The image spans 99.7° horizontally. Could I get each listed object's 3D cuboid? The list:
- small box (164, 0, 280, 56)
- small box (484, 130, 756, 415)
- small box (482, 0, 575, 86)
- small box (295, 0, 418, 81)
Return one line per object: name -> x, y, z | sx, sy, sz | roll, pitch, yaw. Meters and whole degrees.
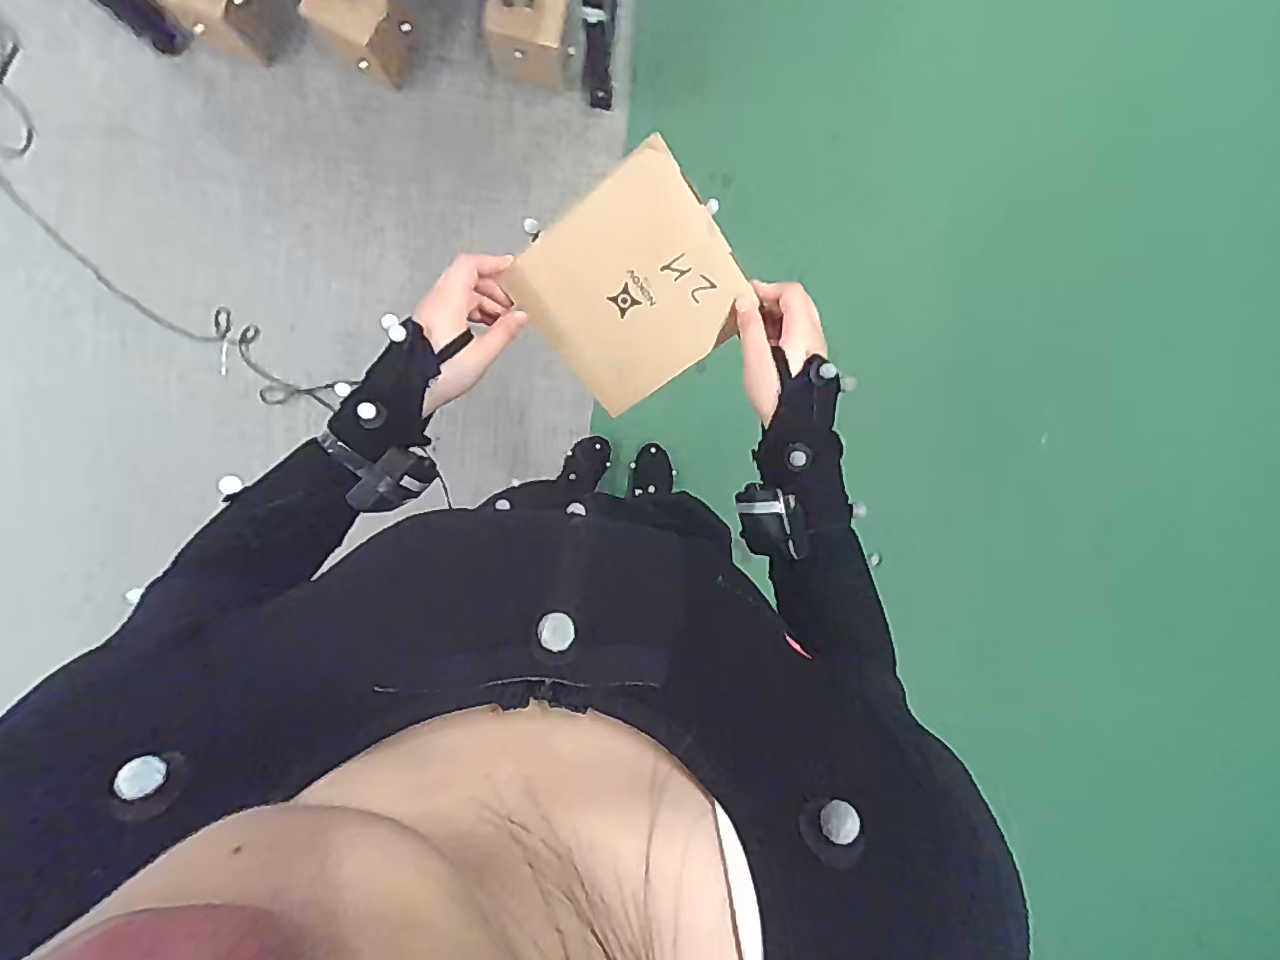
small box -> -1.012, -1.167, 1.287 | 0.179, 0.176, 0.168 | 19, 94, -2
small box -> -0.016, -0.200, 0.523 | 0.179, 0.176, 0.168 | -34, 118, 18
small box -> -0.263, -1.103, 1.310 | 0.179, 0.176, 0.168 | 12, 94, -3
small box -> -0.670, -1.113, 1.300 | 0.179, 0.176, 0.168 | 27, 92, -2
